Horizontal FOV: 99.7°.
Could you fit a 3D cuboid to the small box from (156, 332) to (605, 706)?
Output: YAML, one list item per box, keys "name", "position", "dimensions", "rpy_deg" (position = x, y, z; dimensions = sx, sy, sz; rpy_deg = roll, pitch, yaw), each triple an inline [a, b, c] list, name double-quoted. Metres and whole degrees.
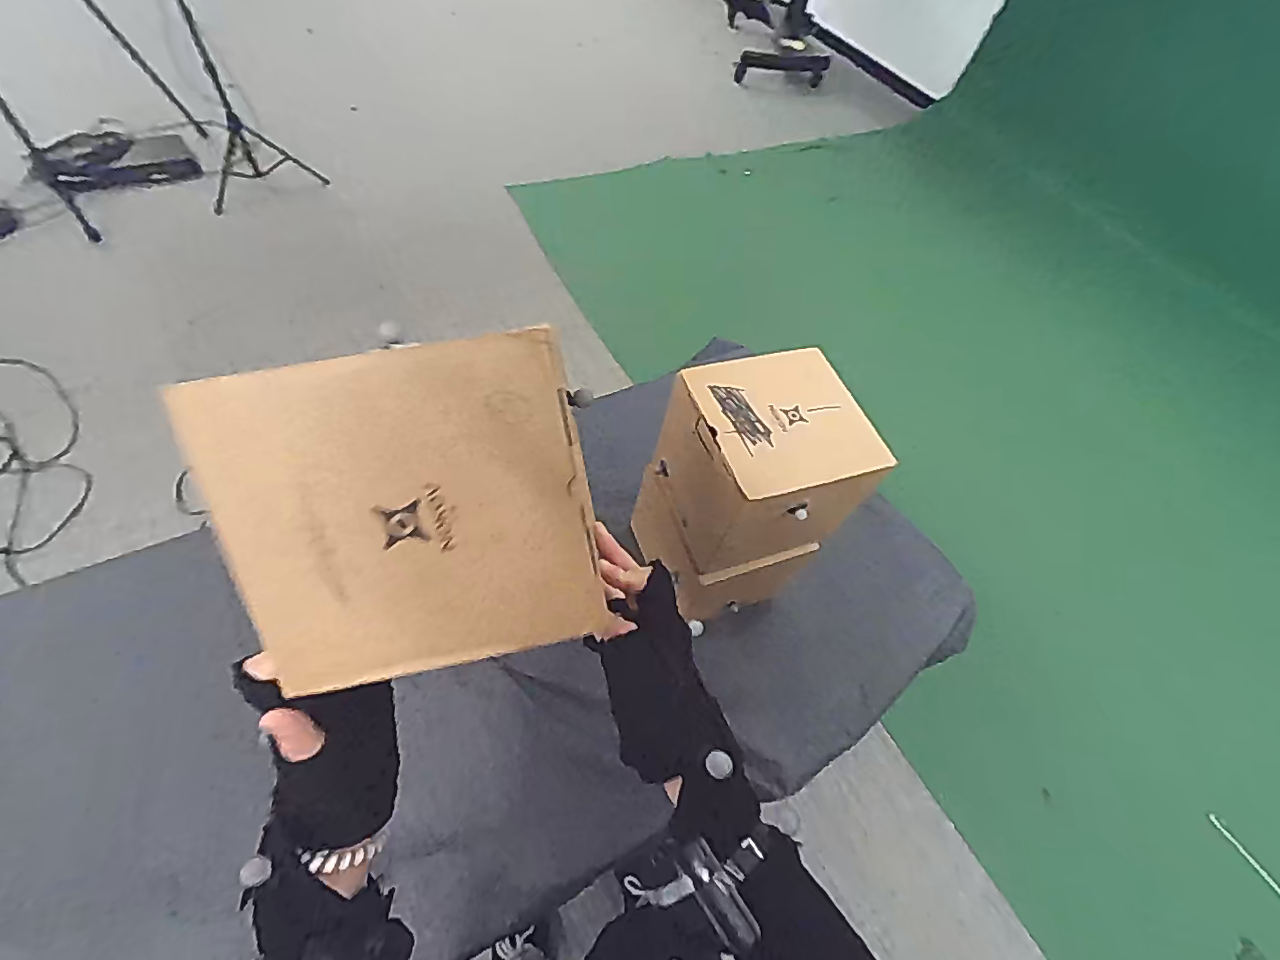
- name: "small box"
  position: [-0.125, 0.004, 0.341]
  dimensions: [0.179, 0.168, 0.176]
  rpy_deg: [-11, 18, -3]

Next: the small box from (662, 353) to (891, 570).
- name: "small box"
  position: [0.134, -0.016, 0.615]
  dimensions: [0.179, 0.176, 0.168]
  rpy_deg: [-13, 61, -18]
